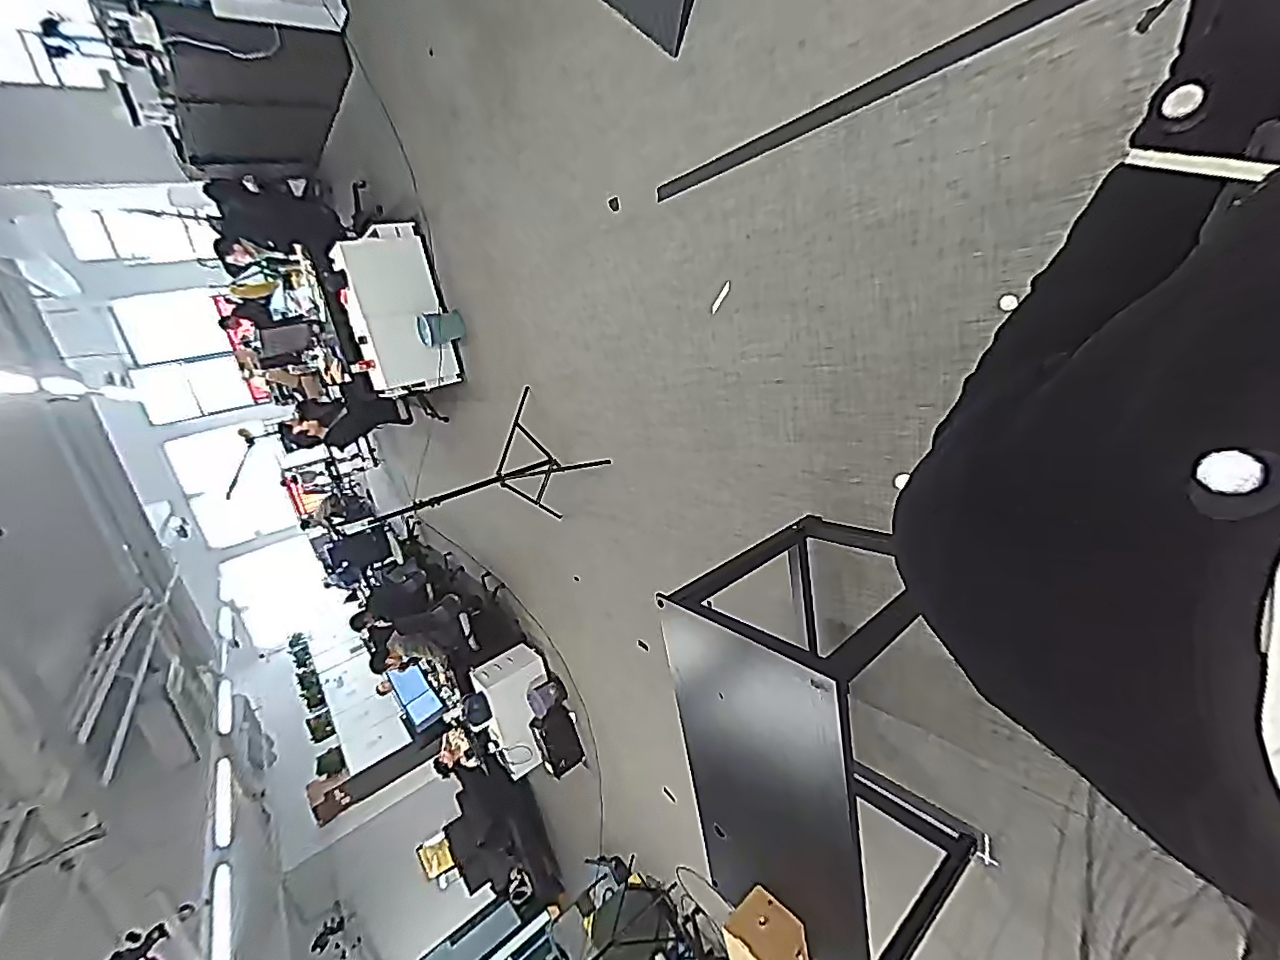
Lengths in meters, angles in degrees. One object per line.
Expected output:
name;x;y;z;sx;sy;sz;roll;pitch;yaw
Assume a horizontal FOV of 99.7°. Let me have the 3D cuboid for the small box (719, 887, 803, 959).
small box;0.357;1.360;1.586;0.168;0.176;0.179;9;115;53
